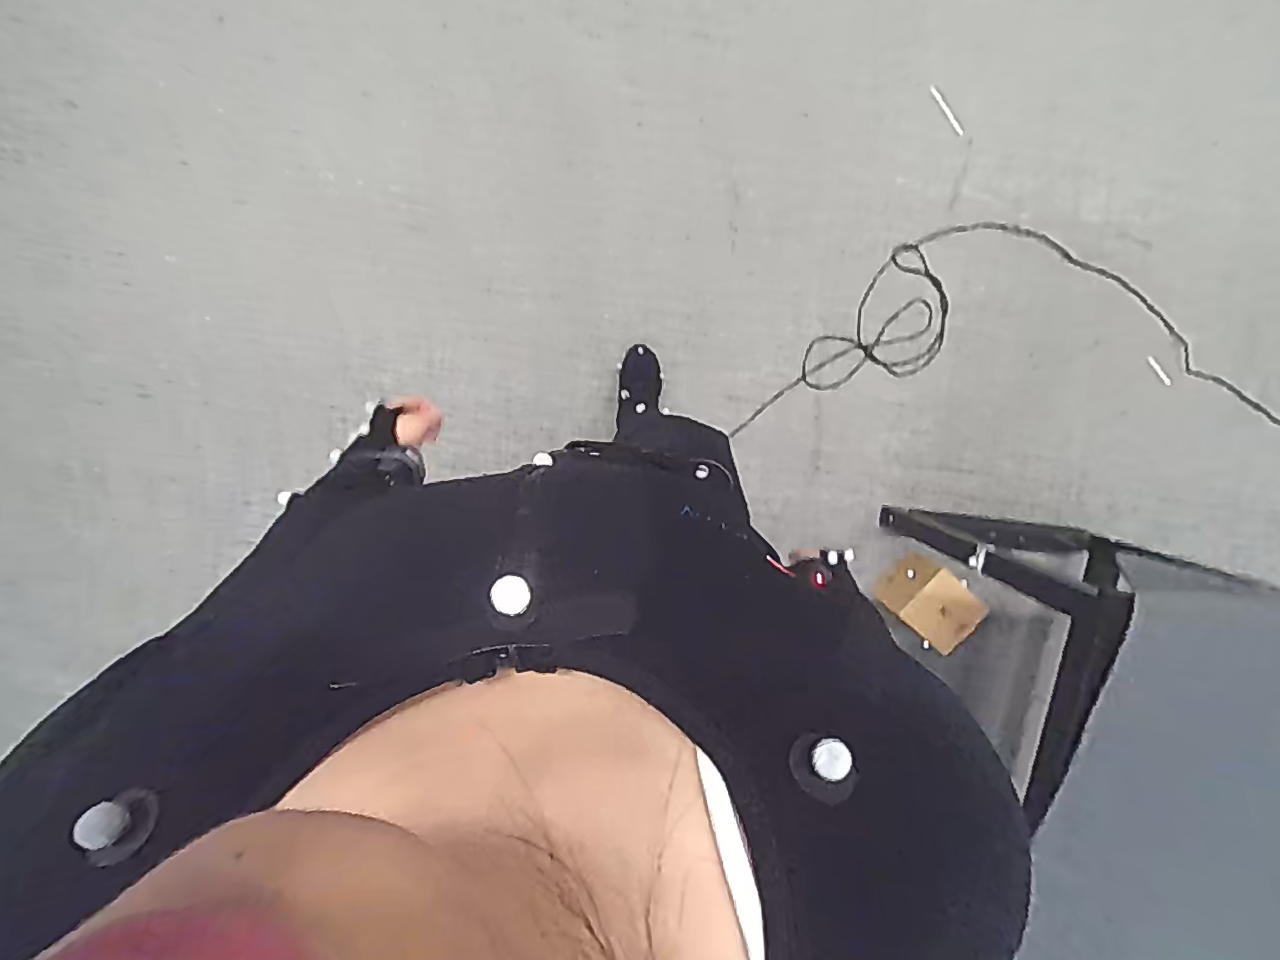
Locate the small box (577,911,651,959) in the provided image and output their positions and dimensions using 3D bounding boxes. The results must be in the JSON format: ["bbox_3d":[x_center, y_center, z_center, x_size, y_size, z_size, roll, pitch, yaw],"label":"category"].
[{"bbox_3d":[-0.078,1.428,1.583,0.168,0.176,0.179,42,95,-6],"label":"small box"}]

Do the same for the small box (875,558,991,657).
[{"bbox_3d":[0.766,0.326,1.437,0.179,0.176,0.168,40,95,-6],"label":"small box"}]
